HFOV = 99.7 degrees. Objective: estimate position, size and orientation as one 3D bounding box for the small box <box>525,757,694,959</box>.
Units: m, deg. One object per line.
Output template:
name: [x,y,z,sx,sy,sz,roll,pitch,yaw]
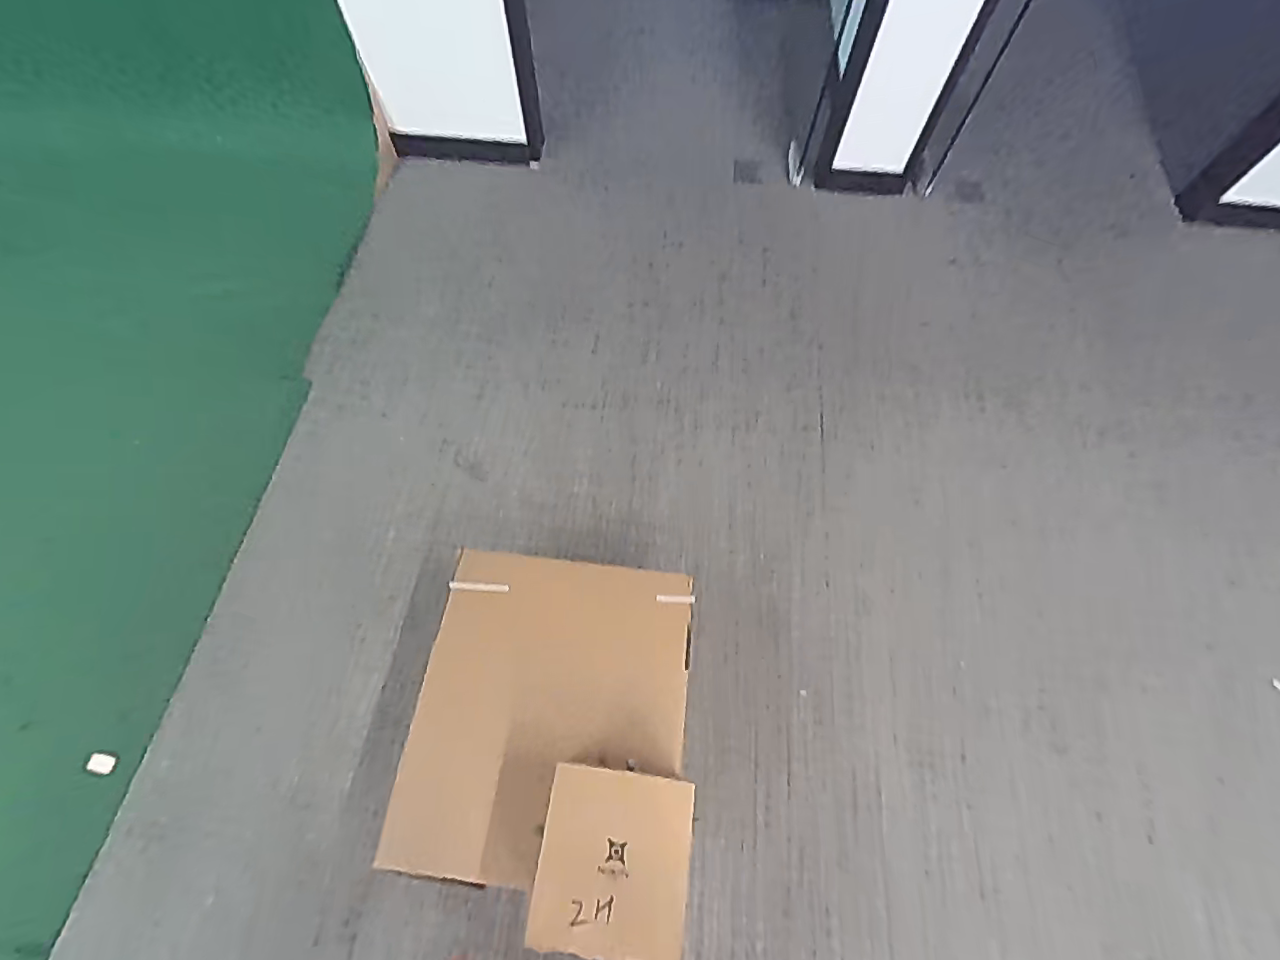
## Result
small box: [-0.032,0.452,0.670,0.168,0.176,0.179,8,63,2]
